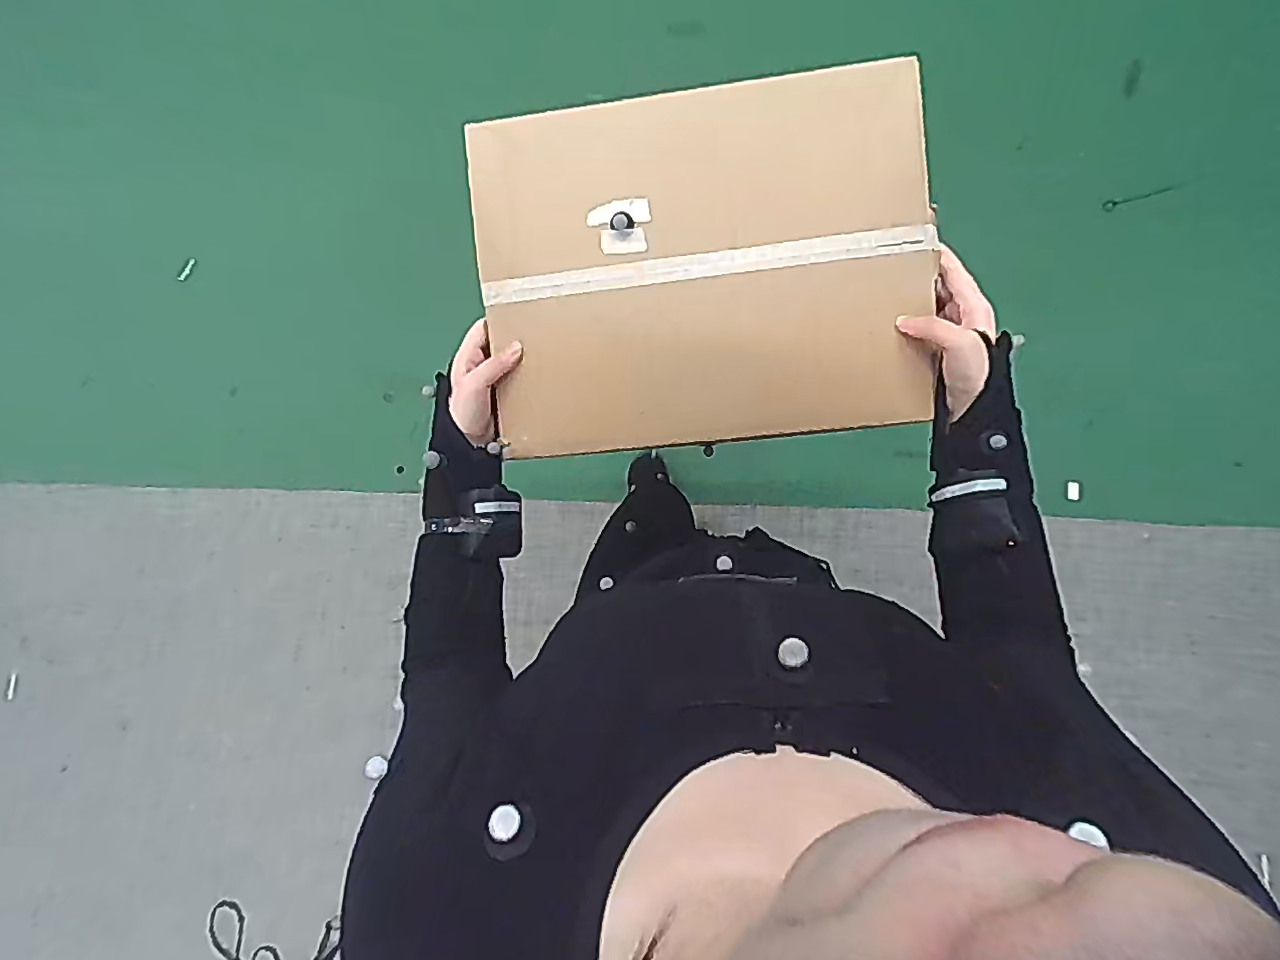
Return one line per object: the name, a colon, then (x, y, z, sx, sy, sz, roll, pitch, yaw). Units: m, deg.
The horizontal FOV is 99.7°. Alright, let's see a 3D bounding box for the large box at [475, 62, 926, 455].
large box: (0.069, -0.209, 0.653, 0.408, 0.320, 0.320, -5, 93, 7)
